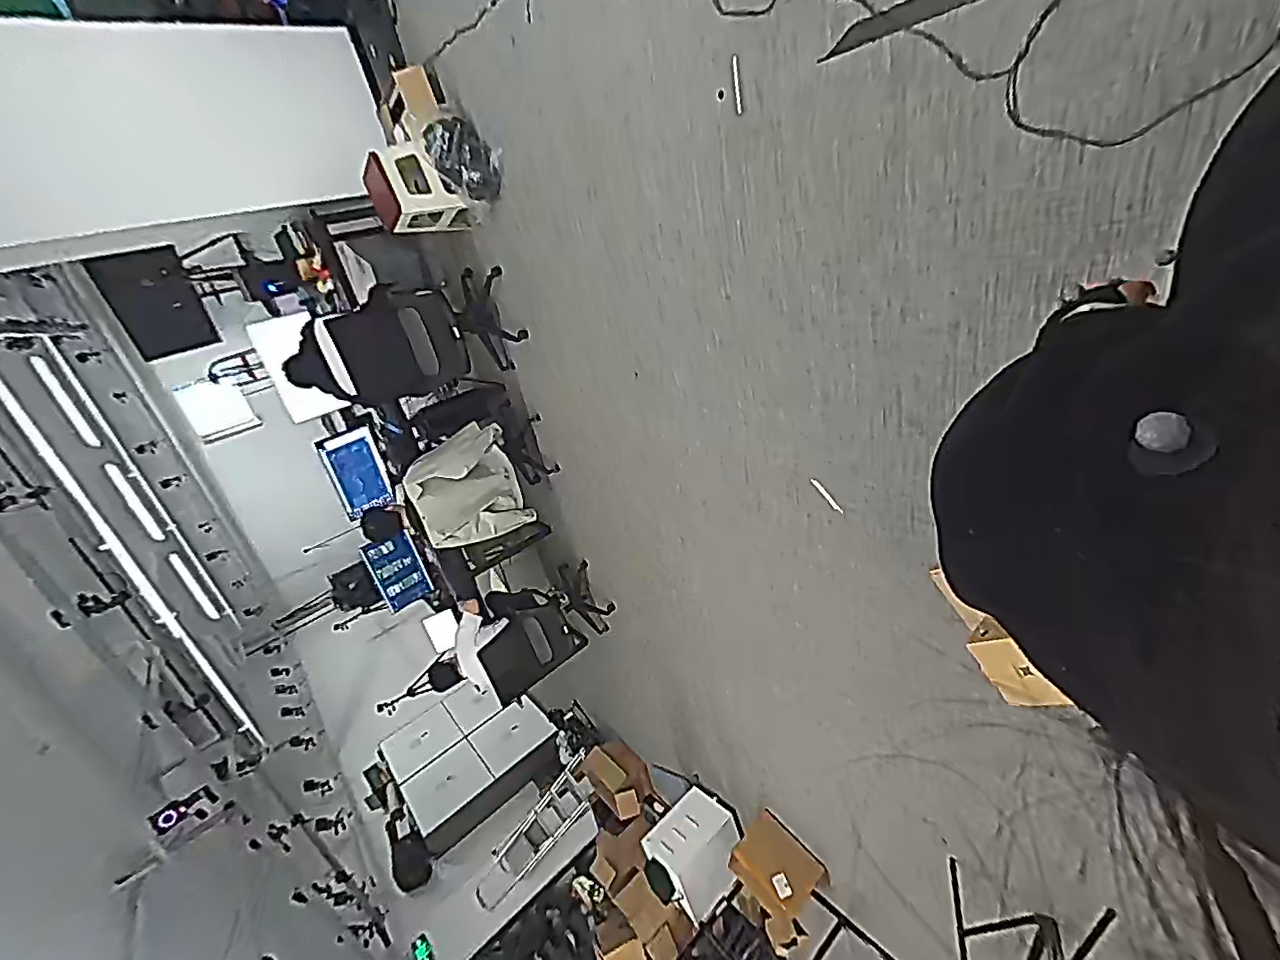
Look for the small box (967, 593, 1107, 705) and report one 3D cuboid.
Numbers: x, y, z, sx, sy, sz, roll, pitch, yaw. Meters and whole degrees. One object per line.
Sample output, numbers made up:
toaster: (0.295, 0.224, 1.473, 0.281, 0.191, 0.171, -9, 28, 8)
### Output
small box: (0.877, 0.369, 1.189, 0.168, 0.176, 0.179, 56, 149, 7)
